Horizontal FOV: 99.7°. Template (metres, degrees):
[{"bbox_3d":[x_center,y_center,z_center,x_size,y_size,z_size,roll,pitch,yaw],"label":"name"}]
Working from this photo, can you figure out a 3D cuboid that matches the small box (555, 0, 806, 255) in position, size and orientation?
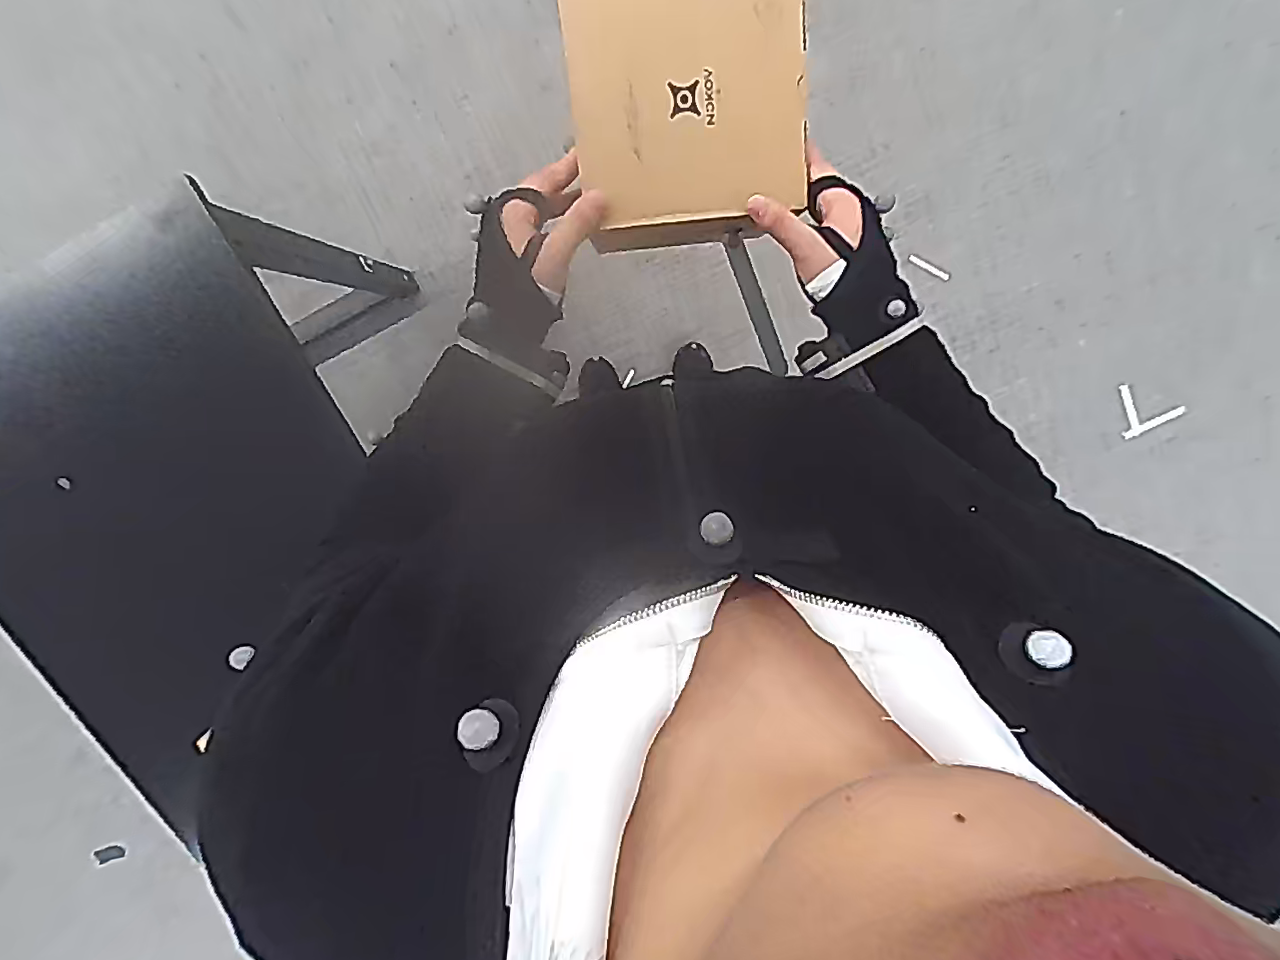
[{"bbox_3d":[0.032,-0.301,0.473,0.179,0.176,0.168,-7,106,1],"label":"small box"}]
